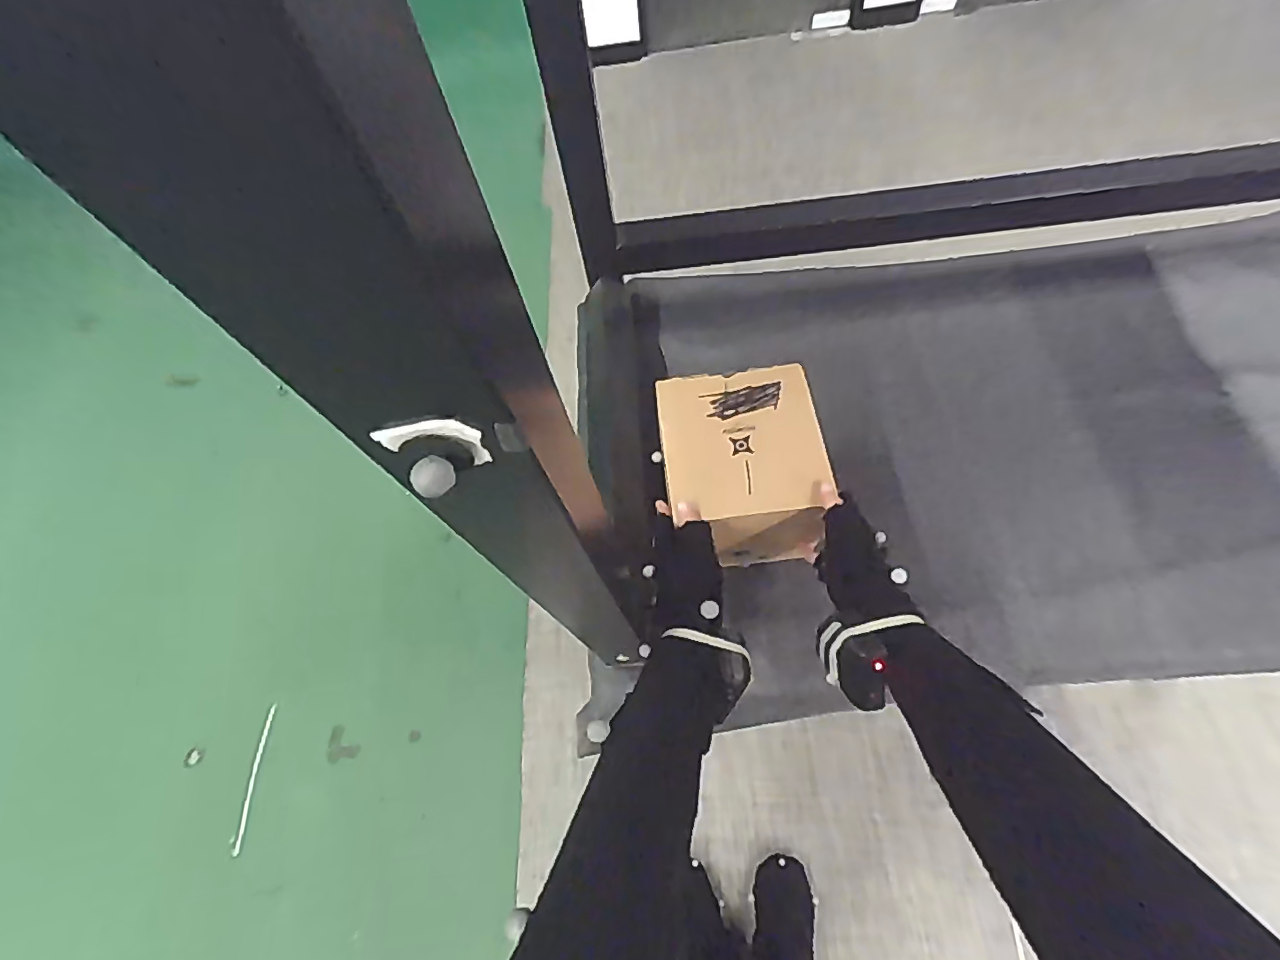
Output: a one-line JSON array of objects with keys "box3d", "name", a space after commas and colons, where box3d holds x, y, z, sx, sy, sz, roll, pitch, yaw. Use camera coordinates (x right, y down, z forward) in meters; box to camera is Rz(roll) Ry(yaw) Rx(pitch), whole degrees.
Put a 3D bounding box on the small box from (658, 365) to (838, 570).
[{"box3d": [0.113, -0.008, 0.636, 0.168, 0.176, 0.179, -7, 63, 3], "name": "small box"}]
